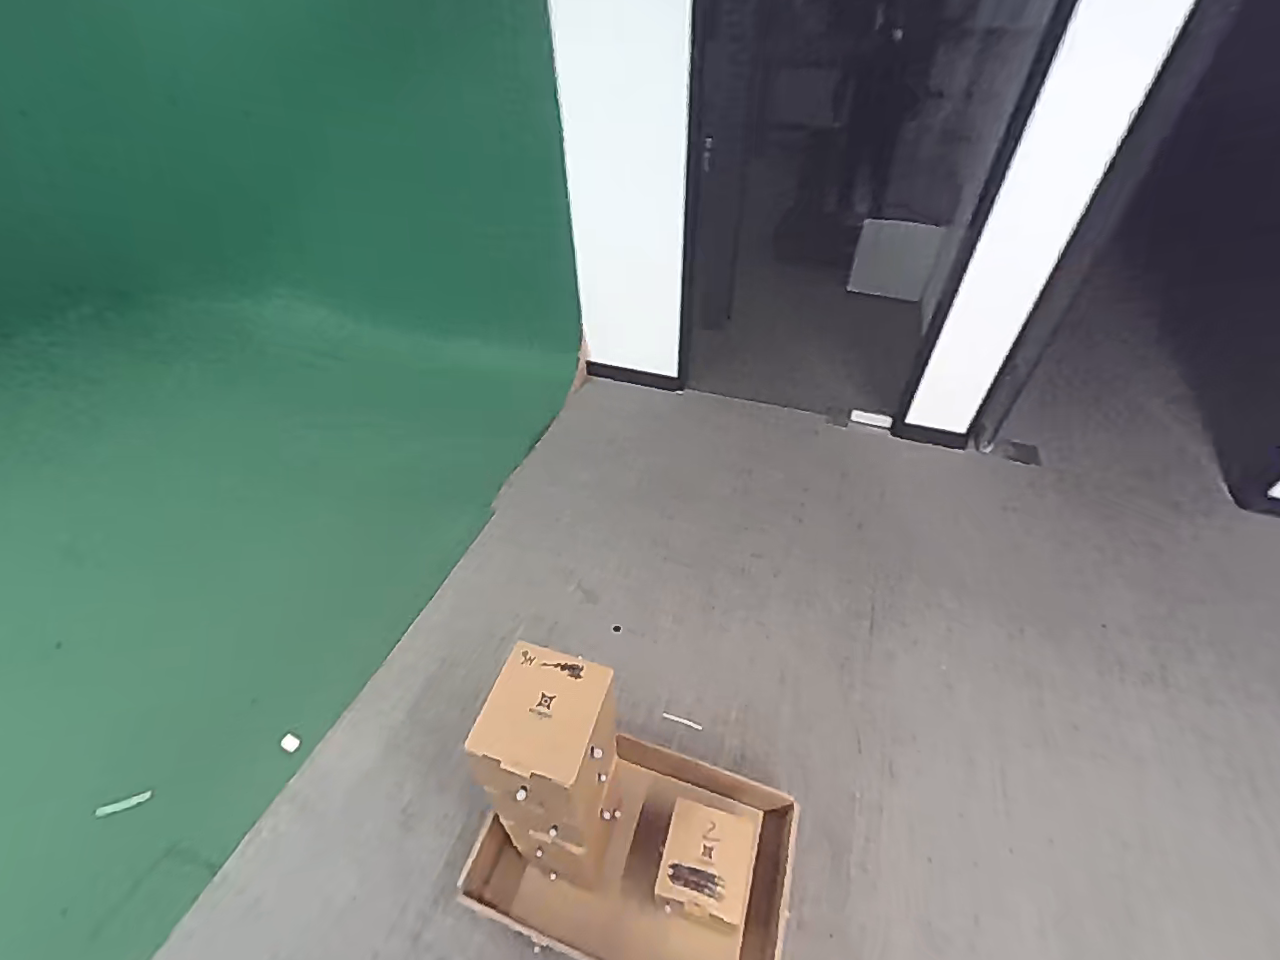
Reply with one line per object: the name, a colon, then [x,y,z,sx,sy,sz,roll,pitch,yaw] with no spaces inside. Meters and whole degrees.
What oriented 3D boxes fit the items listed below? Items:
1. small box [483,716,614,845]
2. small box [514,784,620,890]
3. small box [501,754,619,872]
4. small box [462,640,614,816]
small box: [-0.147,0.504,0.948,0.168,0.176,0.179,14,46,12]
small box: [-0.151,0.743,1.171,0.168,0.176,0.179,15,46,15]
small box: [-0.149,0.626,1.058,0.168,0.176,0.179,15,46,13]
small box: [-0.142,0.385,0.835,0.168,0.176,0.179,14,47,11]
